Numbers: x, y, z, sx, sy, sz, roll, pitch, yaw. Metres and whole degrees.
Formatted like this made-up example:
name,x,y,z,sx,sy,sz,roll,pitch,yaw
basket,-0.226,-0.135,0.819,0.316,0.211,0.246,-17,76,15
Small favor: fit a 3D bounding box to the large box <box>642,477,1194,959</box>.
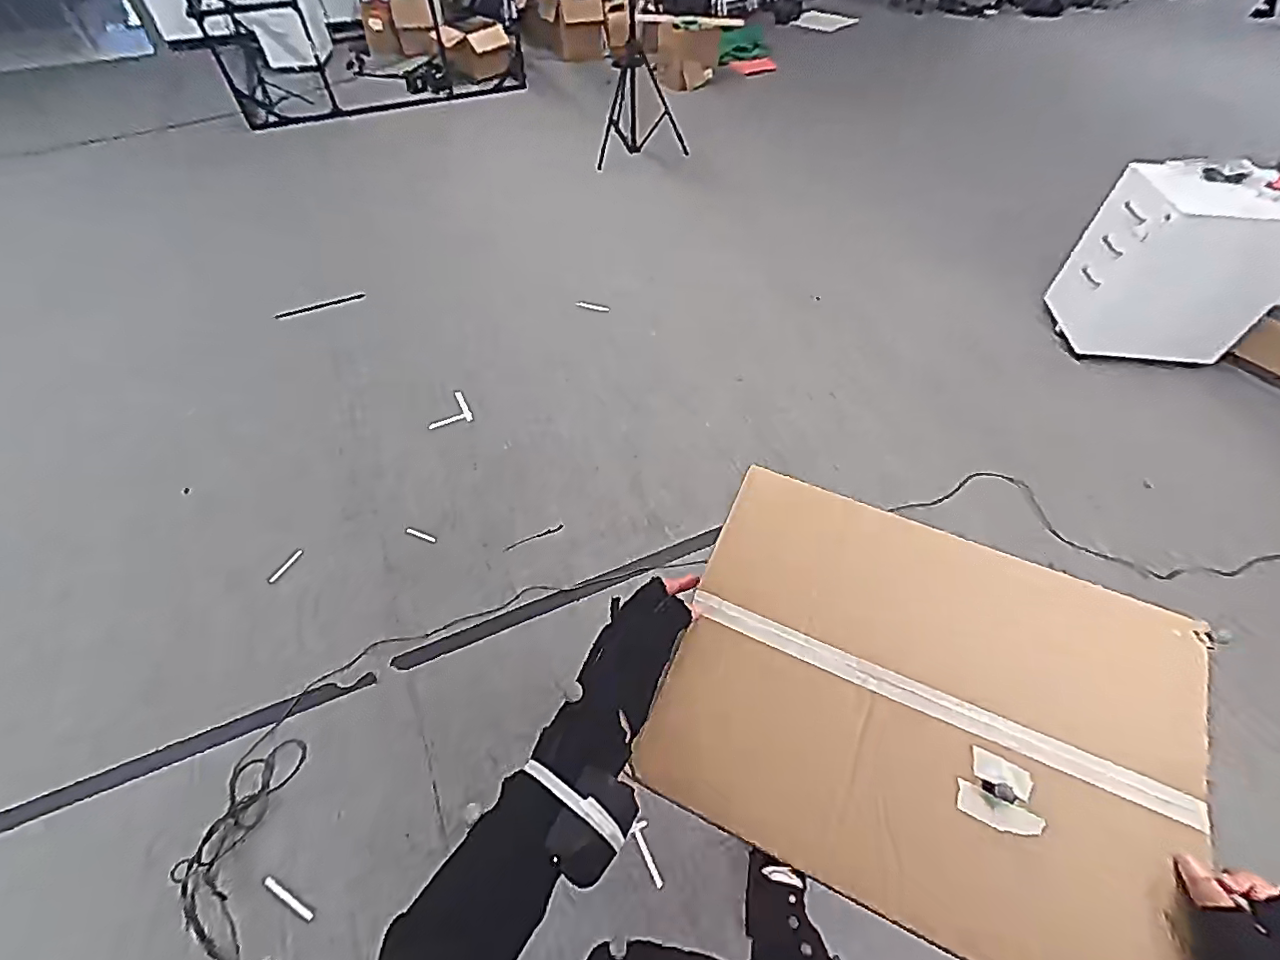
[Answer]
name,x,y,z,sx,sy,sz,roll,pitch,yaw
large box,0.249,0.253,0.596,0.408,0.320,0.320,21,67,15
